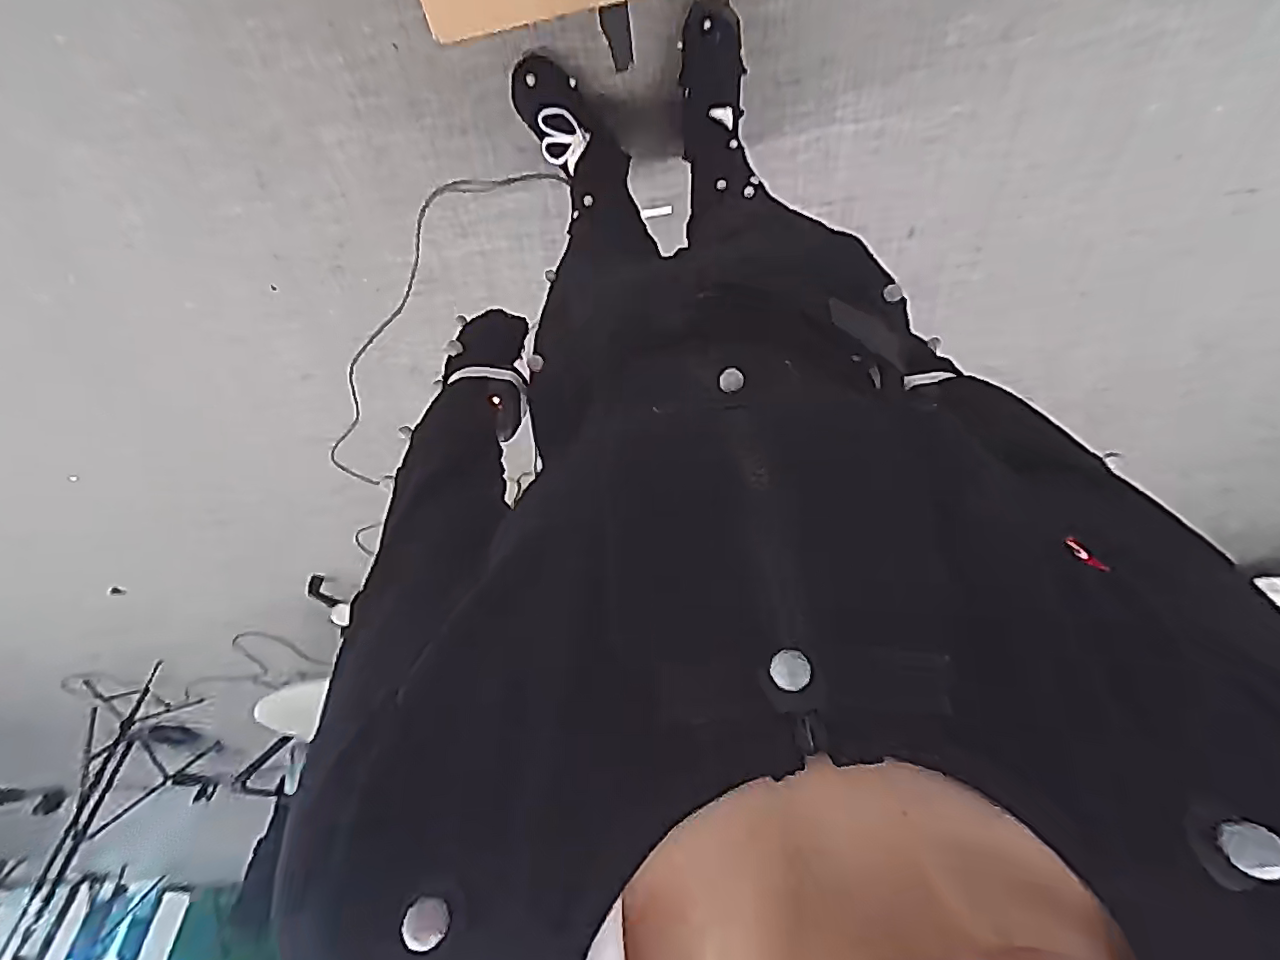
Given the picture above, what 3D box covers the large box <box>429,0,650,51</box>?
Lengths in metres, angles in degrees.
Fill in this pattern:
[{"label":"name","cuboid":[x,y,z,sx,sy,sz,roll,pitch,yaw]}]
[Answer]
[{"label":"large box","cuboid":[-0.094,-0.796,0.666,0.408,0.320,0.320,-9,139,6]}]
